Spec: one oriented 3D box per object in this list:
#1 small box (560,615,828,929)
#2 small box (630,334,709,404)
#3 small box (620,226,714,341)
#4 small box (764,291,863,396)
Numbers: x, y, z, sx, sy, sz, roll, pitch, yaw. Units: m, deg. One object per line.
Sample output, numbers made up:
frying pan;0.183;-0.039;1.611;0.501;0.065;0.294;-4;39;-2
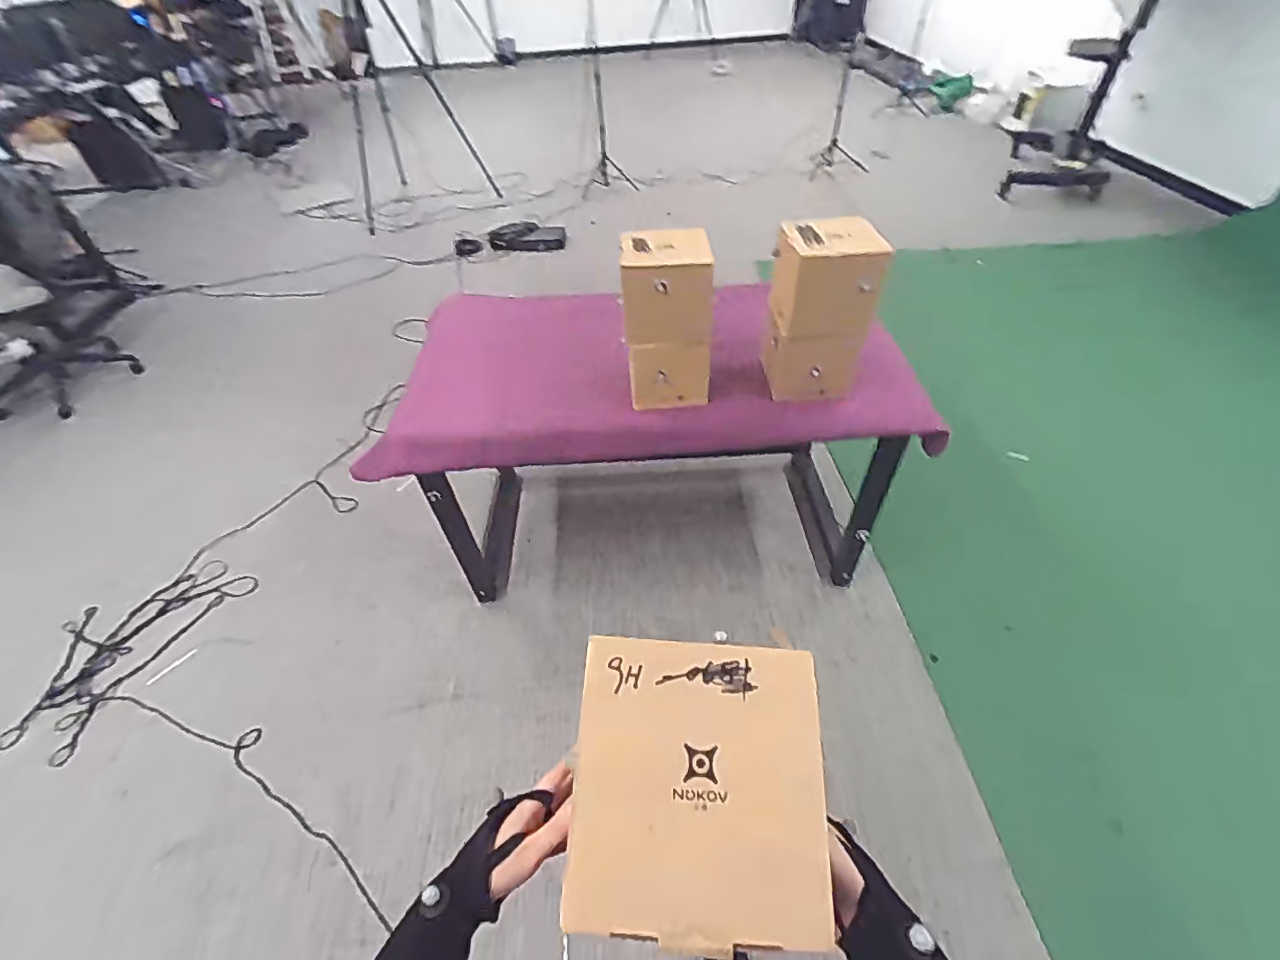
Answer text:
small box;0.037;0.216;0.431;0.168;0.176;0.179;4;65;0
small box;0.063;-0.282;1.217;0.168;0.176;0.179;-5;45;-1
small box;0.055;-0.396;1.098;0.179;0.176;0.168;-2;45;1
small box;0.378;-0.301;1.211;0.168;0.176;0.179;-2;46;2
